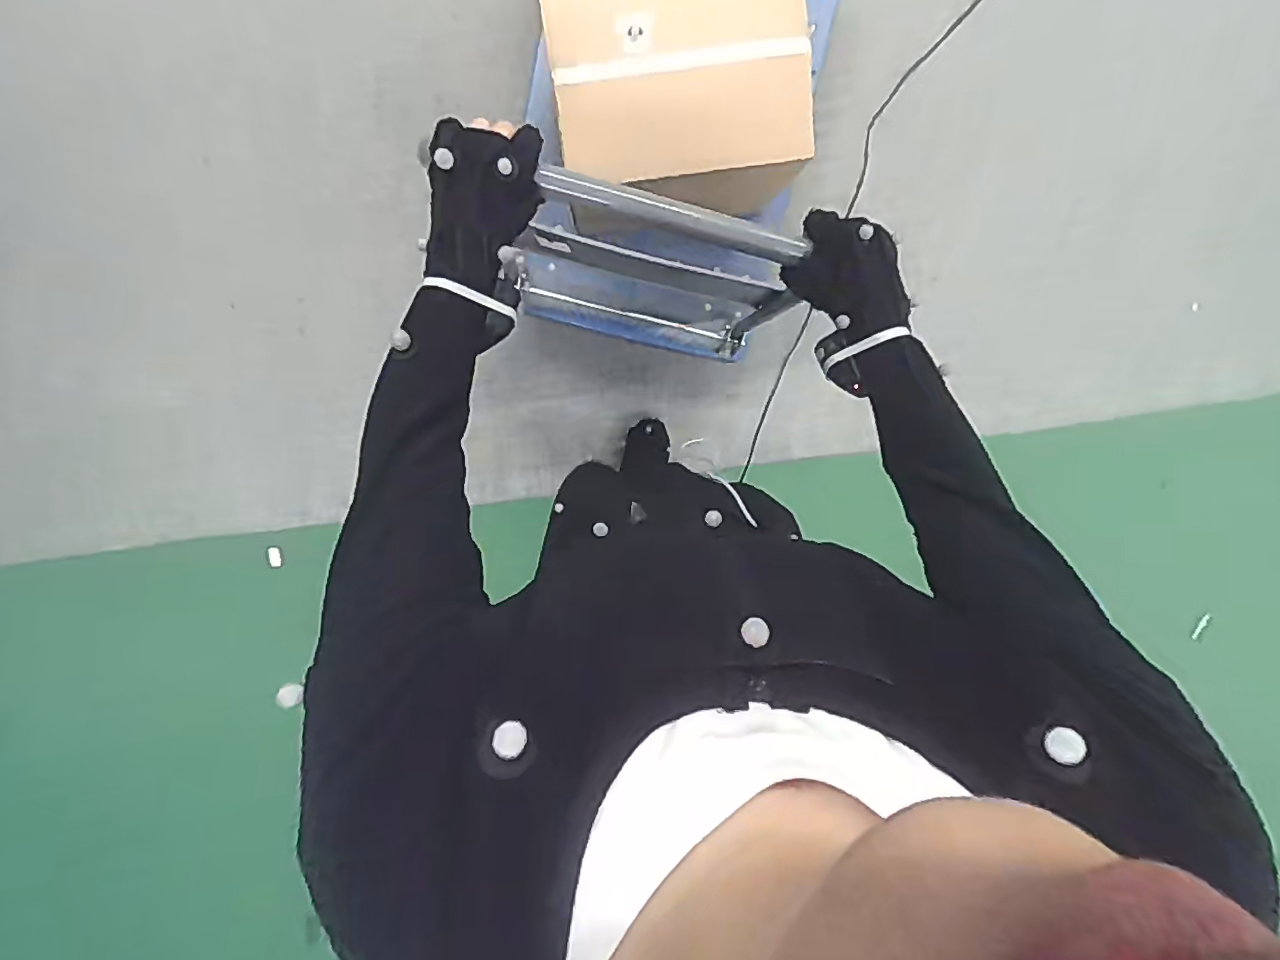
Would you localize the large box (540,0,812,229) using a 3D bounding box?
[{"bbox_3d":[0.057,-0.677,0.983,0.408,0.320,0.320,-8,101,-1],"label":"large box"}]
